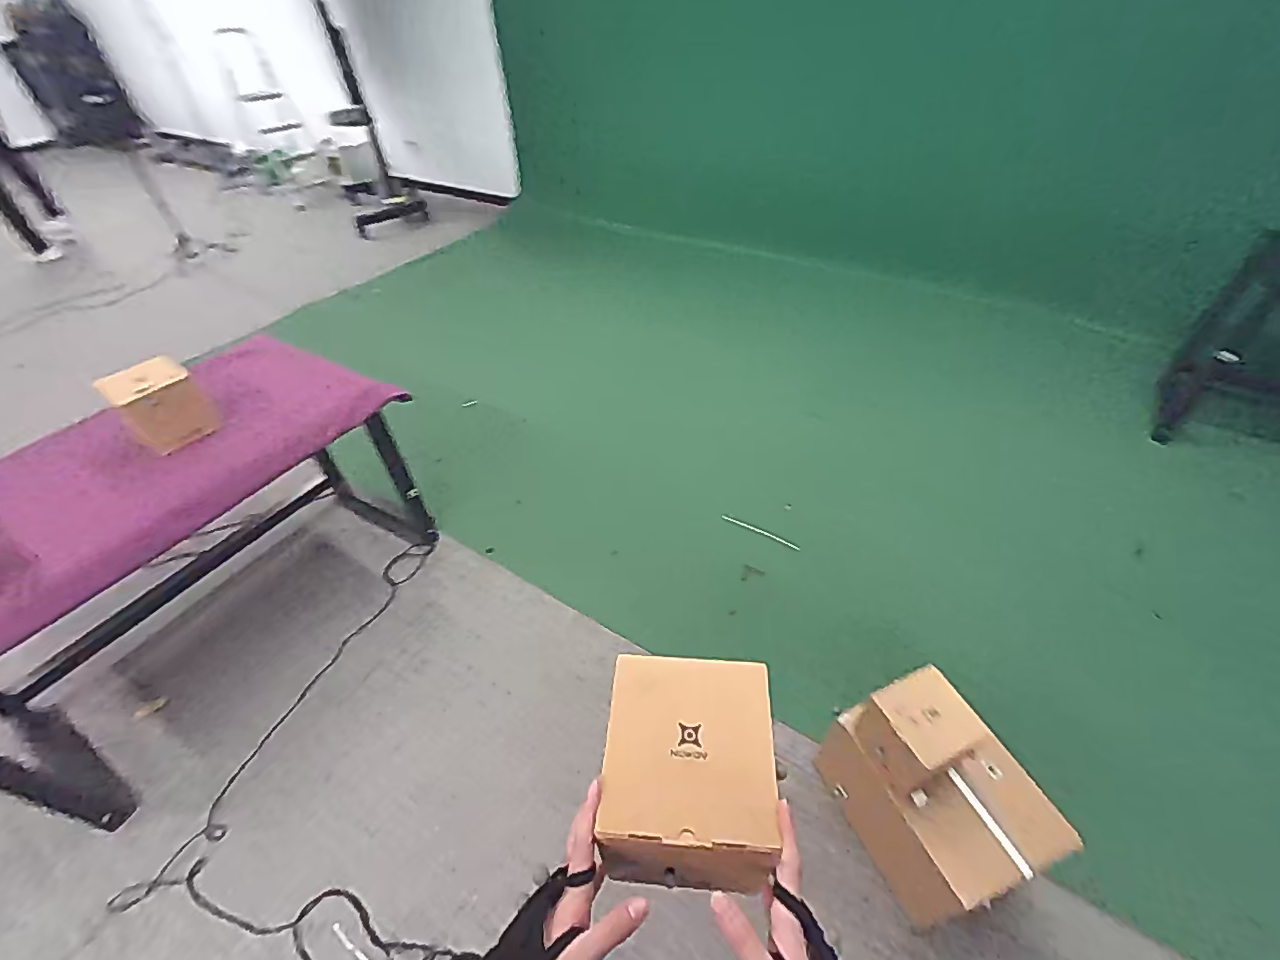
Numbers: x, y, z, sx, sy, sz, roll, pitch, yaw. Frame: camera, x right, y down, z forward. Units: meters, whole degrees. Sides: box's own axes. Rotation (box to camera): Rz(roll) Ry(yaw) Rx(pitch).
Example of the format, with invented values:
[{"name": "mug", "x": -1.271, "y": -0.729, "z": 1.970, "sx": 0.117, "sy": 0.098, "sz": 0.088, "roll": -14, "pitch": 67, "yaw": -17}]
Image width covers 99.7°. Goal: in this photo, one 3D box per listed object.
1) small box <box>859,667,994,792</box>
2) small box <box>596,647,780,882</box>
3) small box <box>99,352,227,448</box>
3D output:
[{"name": "small box", "x": 0.613, "y": 0.547, "z": 1.184, "sx": 0.179, "sy": 0.176, "sz": 0.168, "roll": -18, "pitch": 47, "yaw": -14}, {"name": "small box", "x": 0.048, "y": 0.306, "z": 0.587, "sx": 0.168, "sy": 0.176, "sz": 0.179, "roll": 2, "pitch": 44, "yaw": 4}, {"name": "small box", "x": -1.260, "y": -0.211, "z": 1.438, "sx": 0.179, "sy": 0.176, "sz": 0.168, "roll": 26, "pitch": 51, "yaw": 26}]
